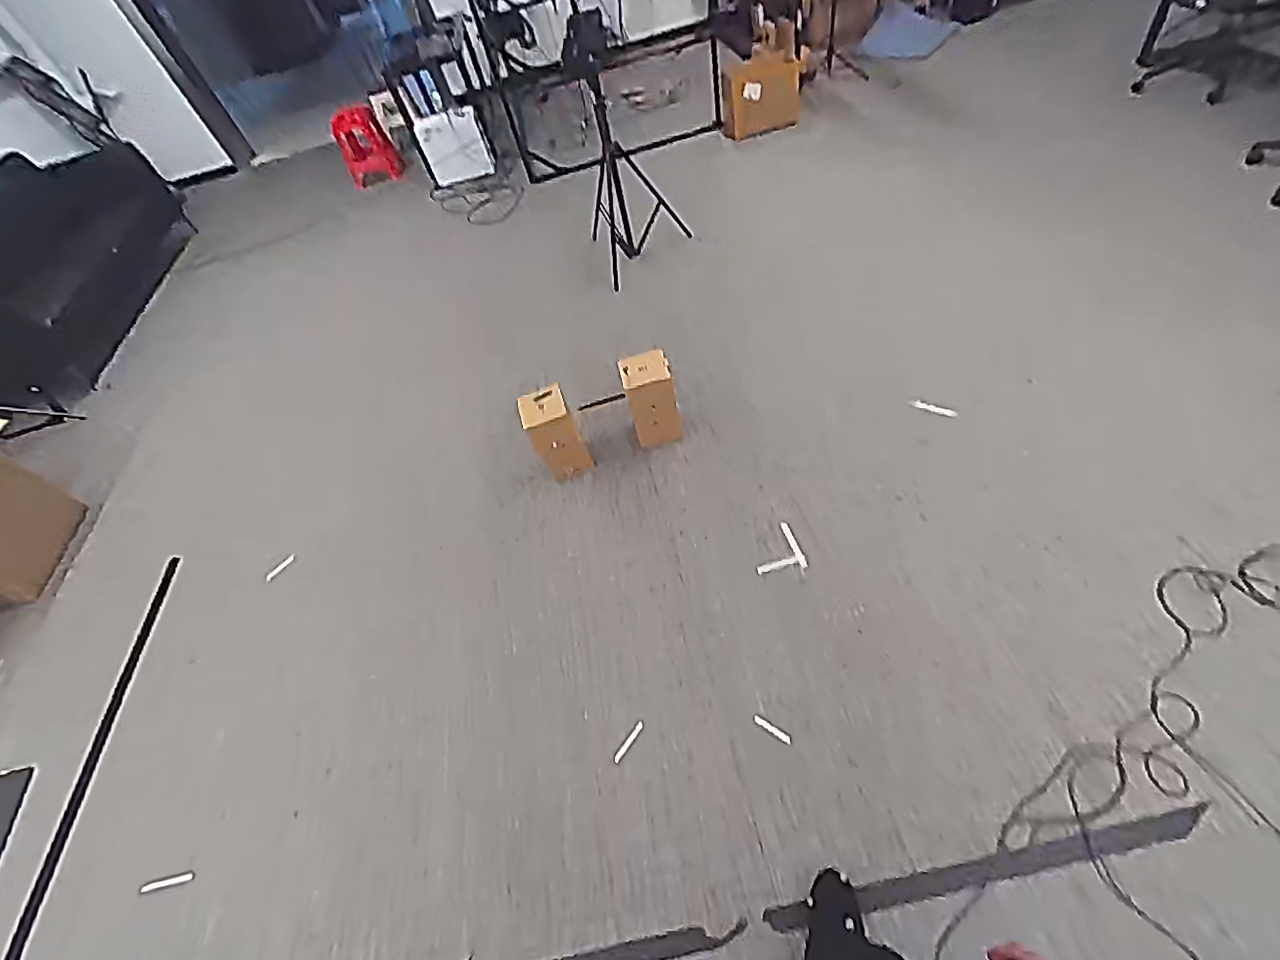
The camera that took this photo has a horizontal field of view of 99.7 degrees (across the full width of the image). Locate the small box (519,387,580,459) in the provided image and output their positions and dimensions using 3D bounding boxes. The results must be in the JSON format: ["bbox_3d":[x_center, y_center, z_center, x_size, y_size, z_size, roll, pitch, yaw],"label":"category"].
[{"bbox_3d":[-0.336,-0.211,2.018,0.168,0.176,0.179,-20,51,-1],"label":"small box"}]

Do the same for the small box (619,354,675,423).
[{"bbox_3d":[0.031,-0.342,2.027,0.179,0.176,0.168,-14,50,2],"label":"small box"}]

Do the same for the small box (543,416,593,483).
[{"bbox_3d":[-0.298,-0.119,2.148,0.168,0.176,0.179,-21,51,-2],"label":"small box"}]

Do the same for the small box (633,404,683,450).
[{"bbox_3d":[0.063,-0.242,2.153,0.179,0.176,0.168,-15,51,2],"label":"small box"}]
